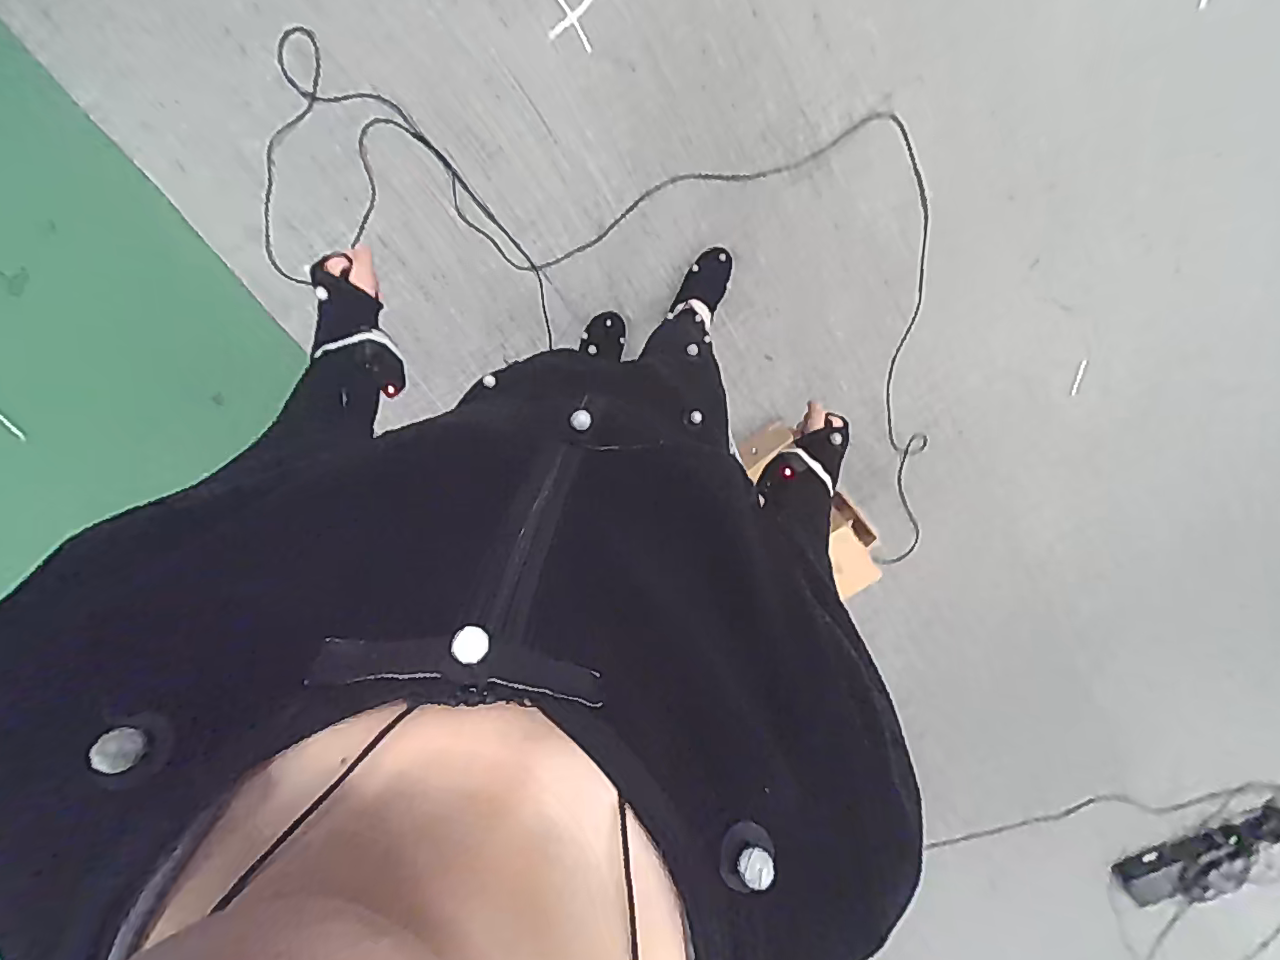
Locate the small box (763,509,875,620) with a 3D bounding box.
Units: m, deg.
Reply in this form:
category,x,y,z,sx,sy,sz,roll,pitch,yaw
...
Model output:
category,x,y,z,sx,sy,sz,roll,pitch,yaw
small box,0.425,0.197,1.312,0.179,0.176,0.168,-35,105,11
